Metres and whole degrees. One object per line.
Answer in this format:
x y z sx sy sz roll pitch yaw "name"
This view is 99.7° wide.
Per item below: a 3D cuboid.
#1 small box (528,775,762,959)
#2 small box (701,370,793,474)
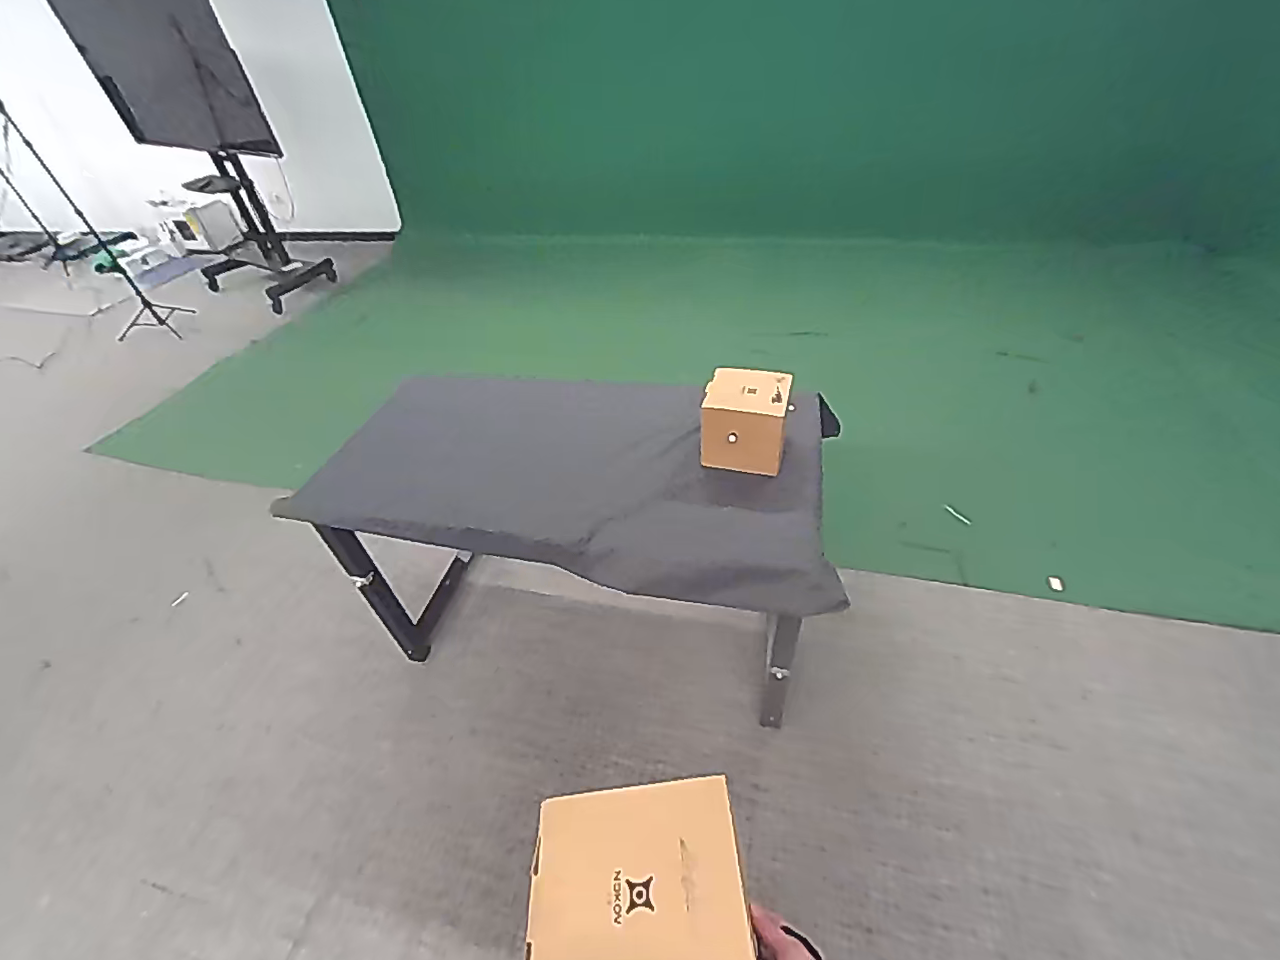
0.012 0.395 0.486 0.179 0.176 0.168 -11 39 4 "small box"
0.245 -0.131 1.231 0.179 0.176 0.168 8 45 17 "small box"
